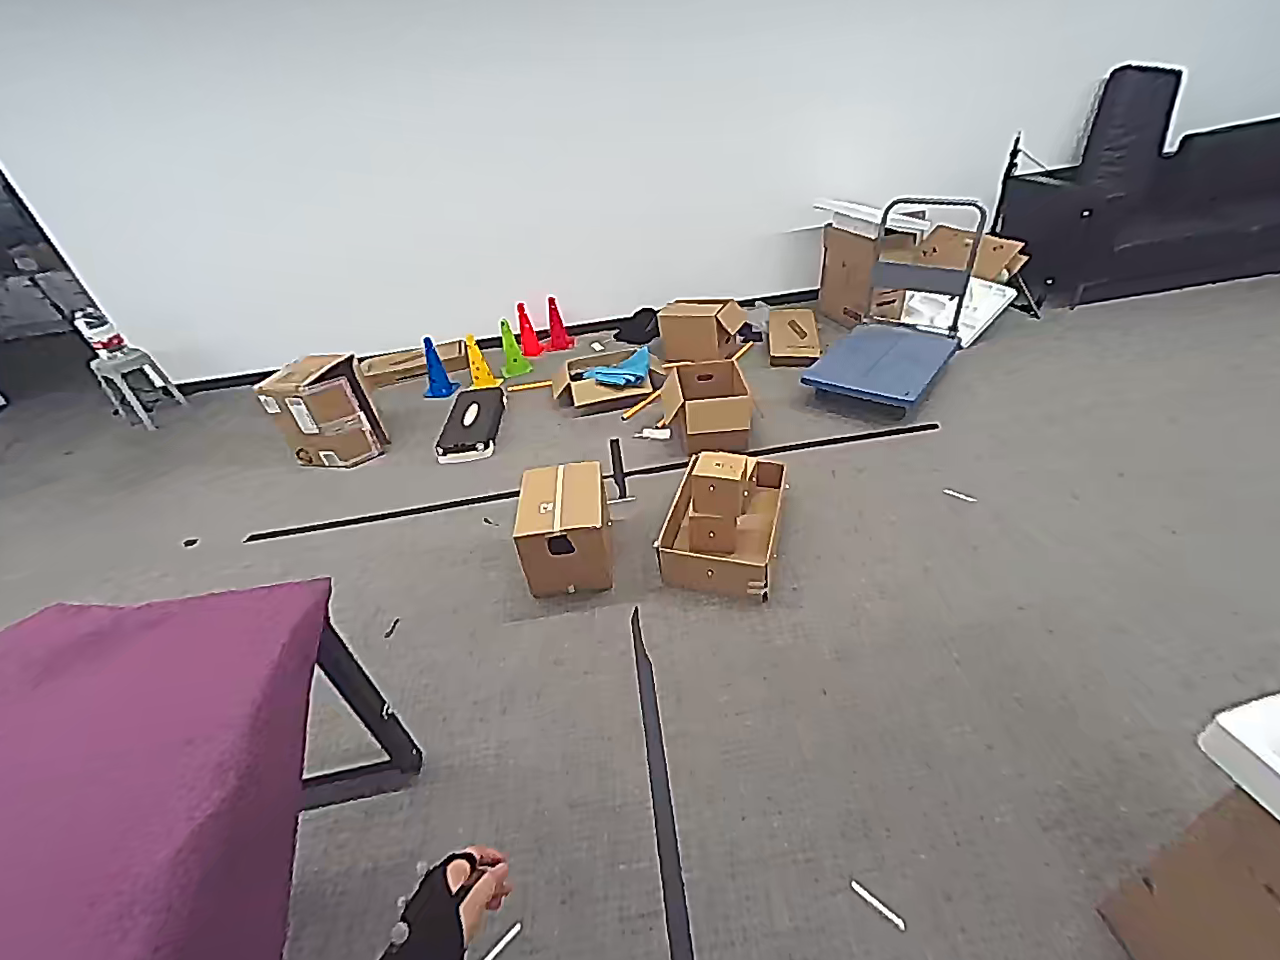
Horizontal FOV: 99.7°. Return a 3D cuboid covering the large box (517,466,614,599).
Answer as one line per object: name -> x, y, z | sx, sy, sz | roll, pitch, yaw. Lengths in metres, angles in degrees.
large box -> -0.278, 0.196, 2.099 | 0.320, 0.320, 0.408 | -8, 37, 0

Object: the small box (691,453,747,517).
small box -> 0.294, 0.019, 1.997 | 0.179, 0.176, 0.168 | 7, 36, 18
